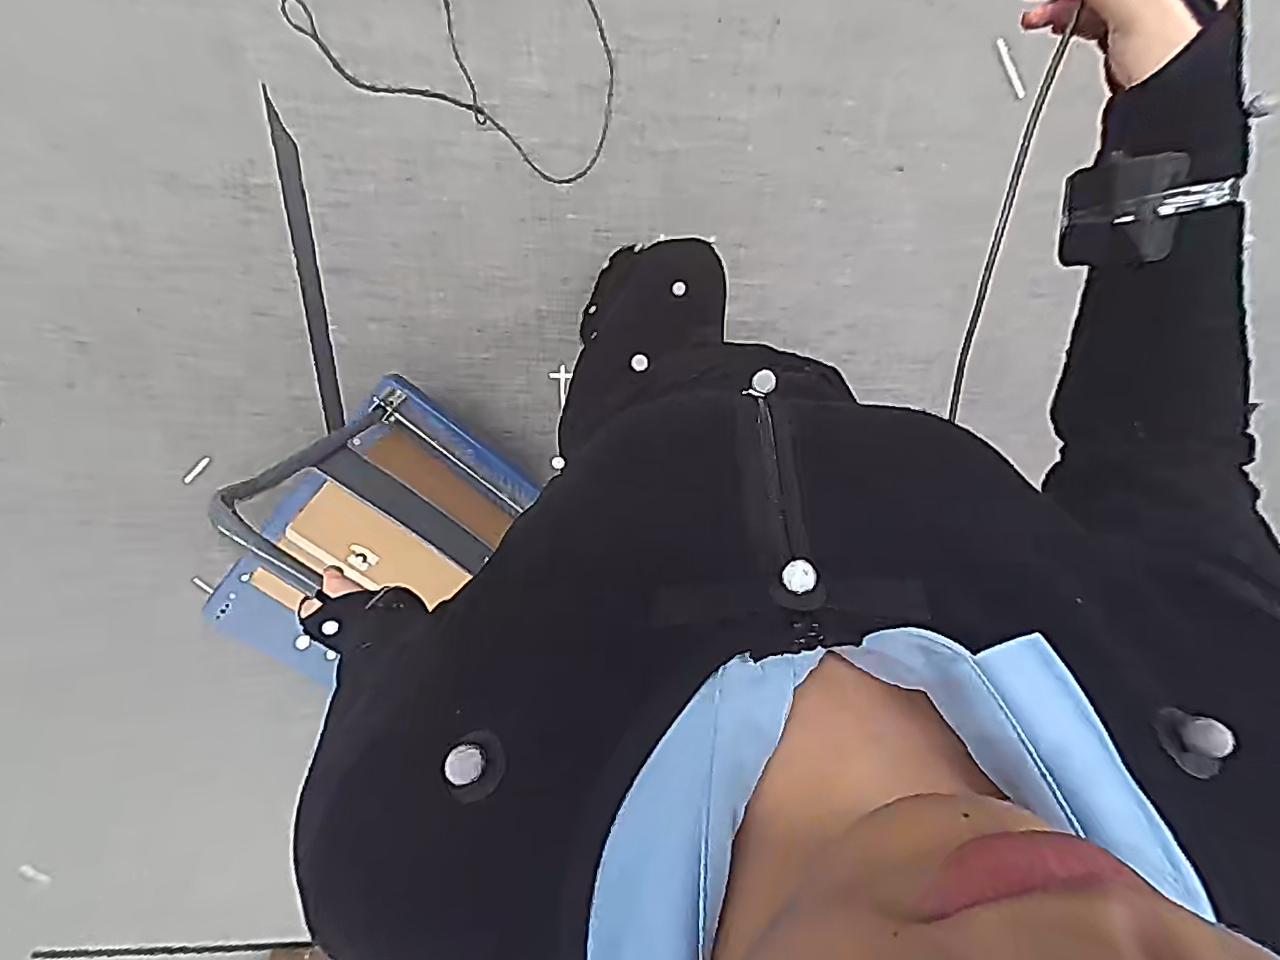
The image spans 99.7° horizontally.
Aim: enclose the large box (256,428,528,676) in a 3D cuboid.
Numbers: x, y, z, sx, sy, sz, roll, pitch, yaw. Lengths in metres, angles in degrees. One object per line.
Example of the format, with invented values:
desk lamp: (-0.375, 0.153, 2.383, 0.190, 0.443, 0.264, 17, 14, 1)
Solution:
large box: (-0.523, 0.153, 1.228, 0.408, 0.320, 0.320, 41, 104, -17)
